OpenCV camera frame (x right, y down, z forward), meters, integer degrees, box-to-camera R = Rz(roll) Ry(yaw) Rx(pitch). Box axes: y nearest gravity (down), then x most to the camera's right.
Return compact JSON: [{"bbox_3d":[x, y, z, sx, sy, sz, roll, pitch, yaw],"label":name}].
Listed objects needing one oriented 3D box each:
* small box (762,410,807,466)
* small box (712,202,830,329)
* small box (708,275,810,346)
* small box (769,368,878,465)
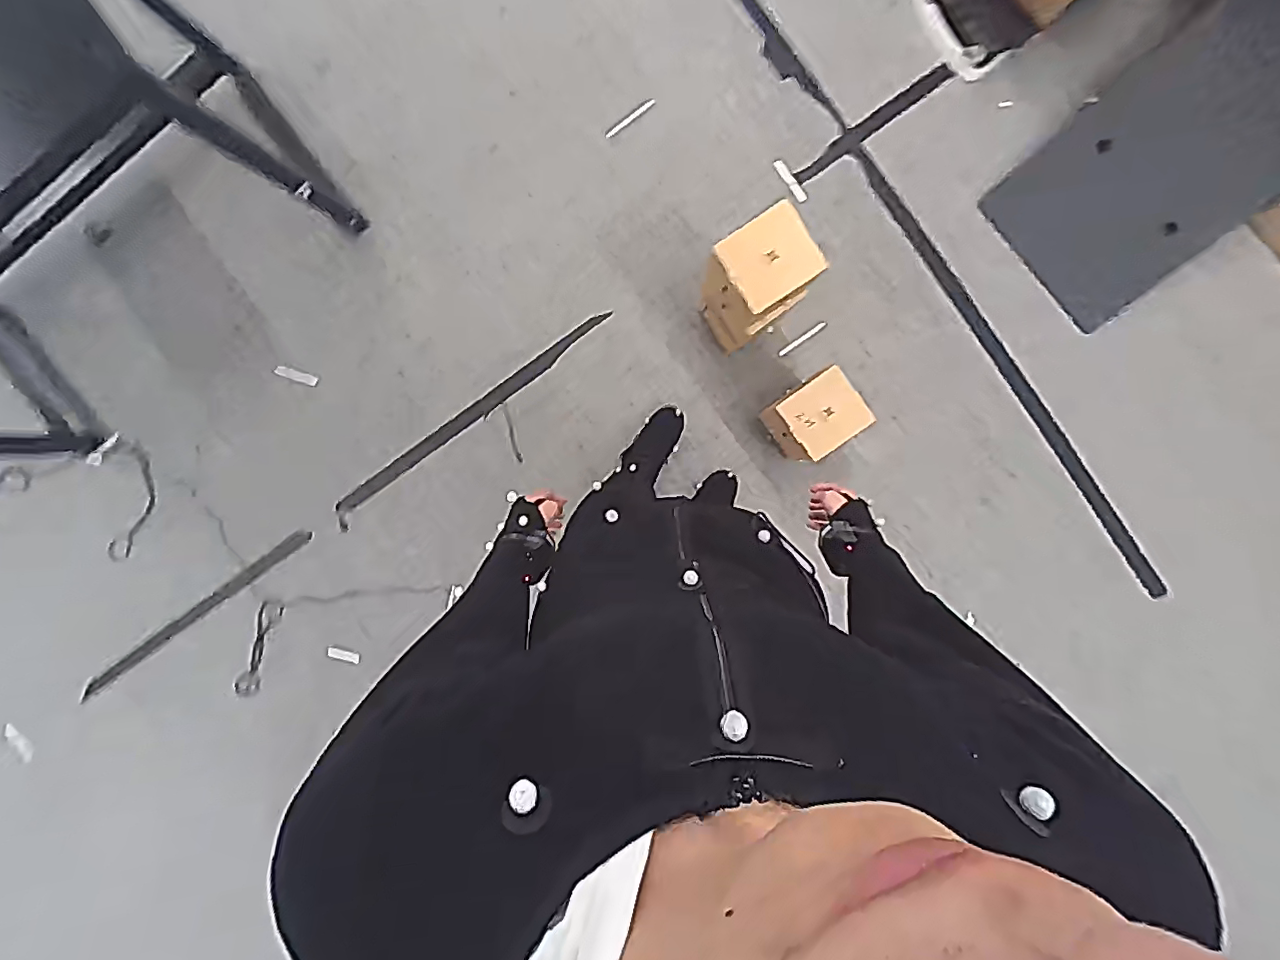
[{"bbox_3d":[0.462,-0.158,1.512,0.179,0.176,0.168,-37,91,7],"label":"small box"},{"bbox_3d":[0.272,-0.451,1.166,0.179,0.176,0.168,-33,93,6],"label":"small box"},{"bbox_3d":[0.282,-0.453,1.329,0.168,0.176,0.179,-35,93,6],"label":"small box"},{"bbox_3d":[0.447,-0.155,1.348,0.179,0.176,0.168,-35,91,6],"label":"small box"}]
